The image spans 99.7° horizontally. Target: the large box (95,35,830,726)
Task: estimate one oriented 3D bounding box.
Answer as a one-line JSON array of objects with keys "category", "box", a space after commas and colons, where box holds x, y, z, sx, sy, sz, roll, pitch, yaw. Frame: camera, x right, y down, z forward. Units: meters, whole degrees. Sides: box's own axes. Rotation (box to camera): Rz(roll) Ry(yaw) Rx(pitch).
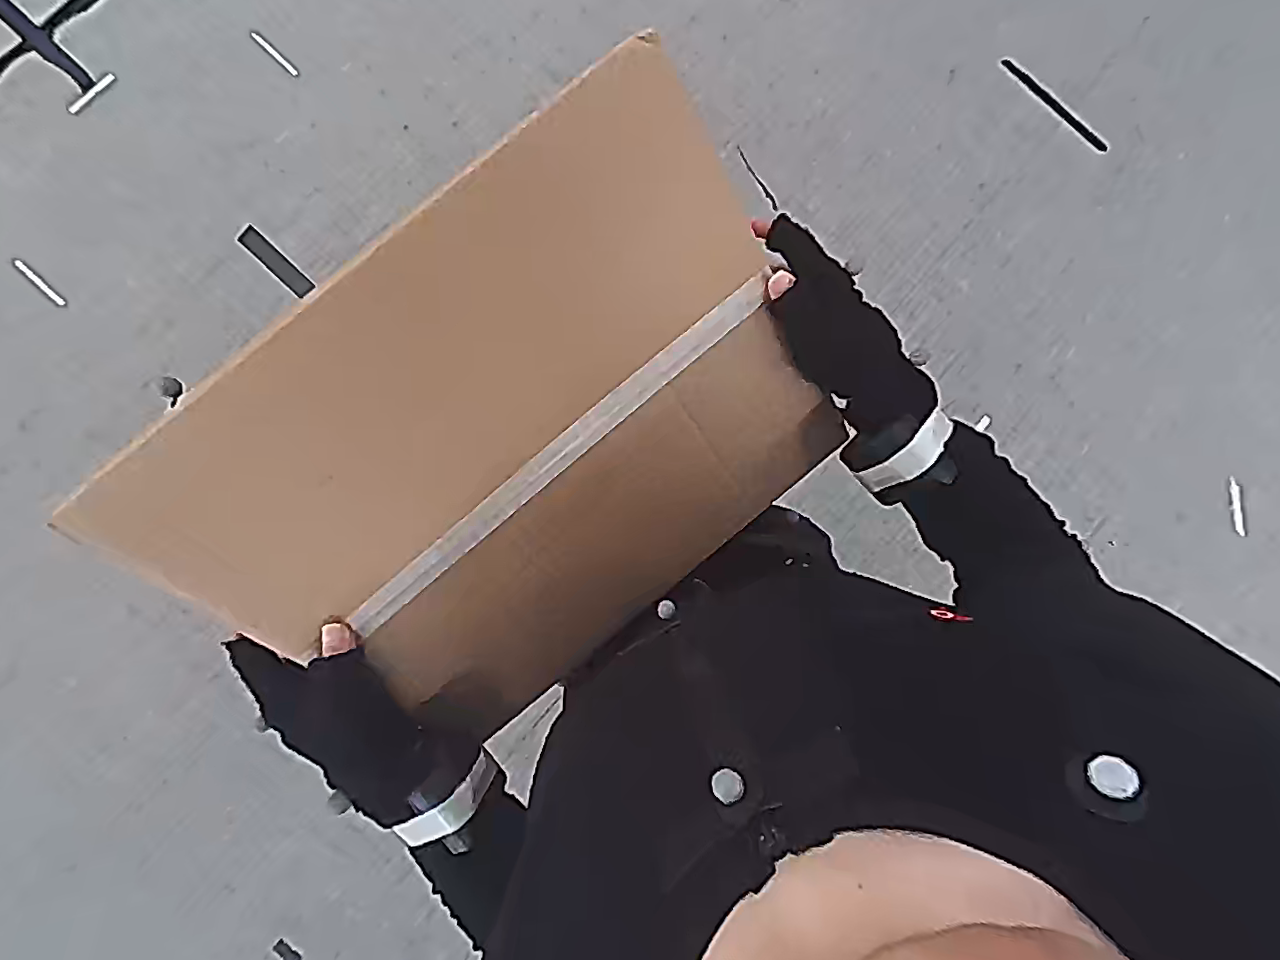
[{"category": "large box", "box": [-0.123, -0.076, 0.500, 0.408, 0.320, 0.320, -40, 123, 0]}]
